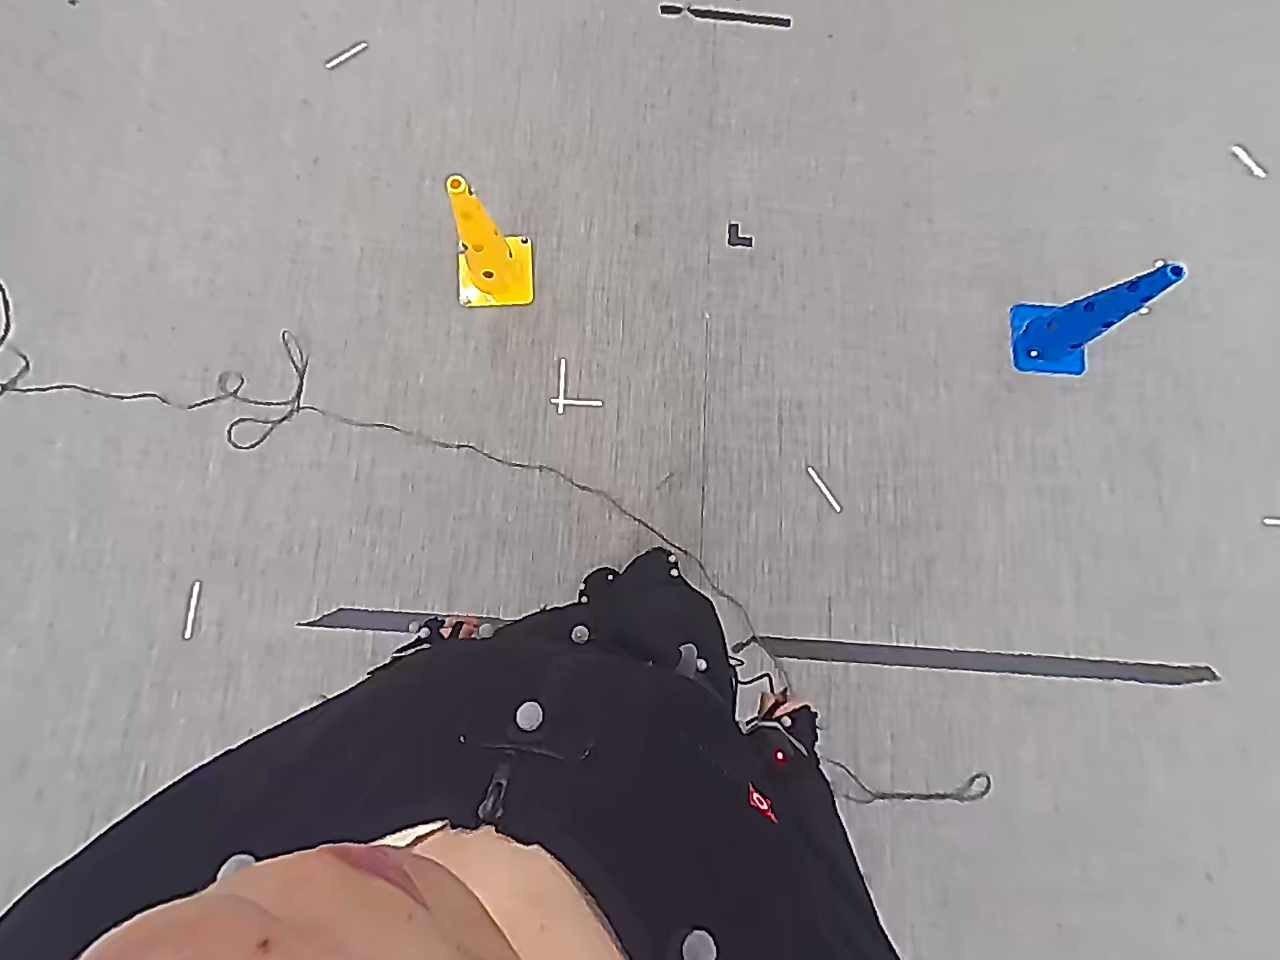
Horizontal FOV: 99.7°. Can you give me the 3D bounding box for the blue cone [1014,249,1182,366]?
[{"bbox_3d":[1.138,-0.437,1.334,0.193,0.380,0.192,4,80,-1],"label":"blue cone"}]
